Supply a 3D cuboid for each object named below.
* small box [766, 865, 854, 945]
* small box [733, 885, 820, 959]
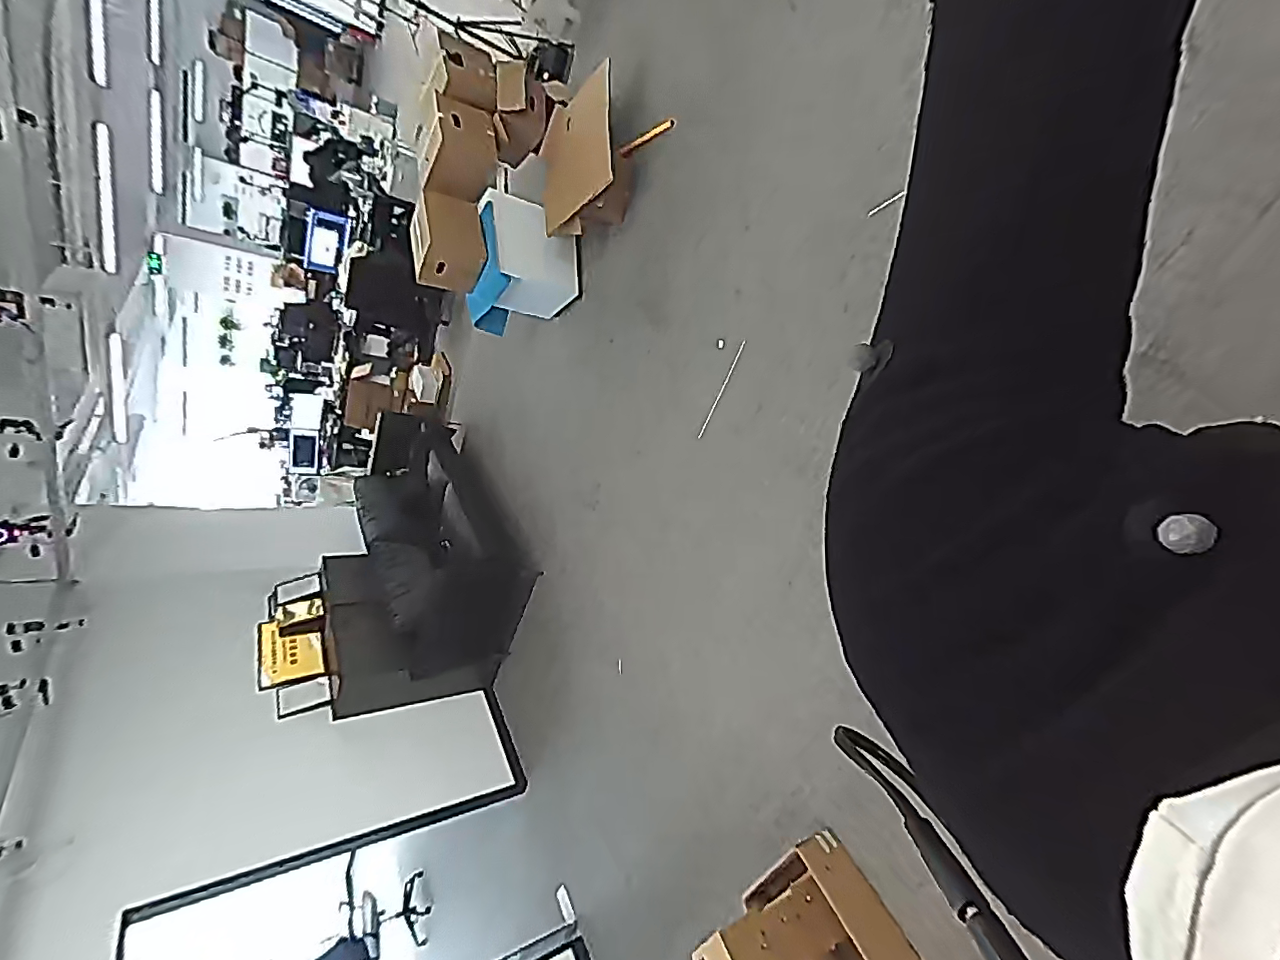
[{"bbox_3d":[0.561,1.411,1.783,0.179,0.176,0.168,55,130,39],"label":"small box"},{"bbox_3d":[0.431,1.411,1.686,0.168,0.176,0.179,57,131,40],"label":"small box"}]
